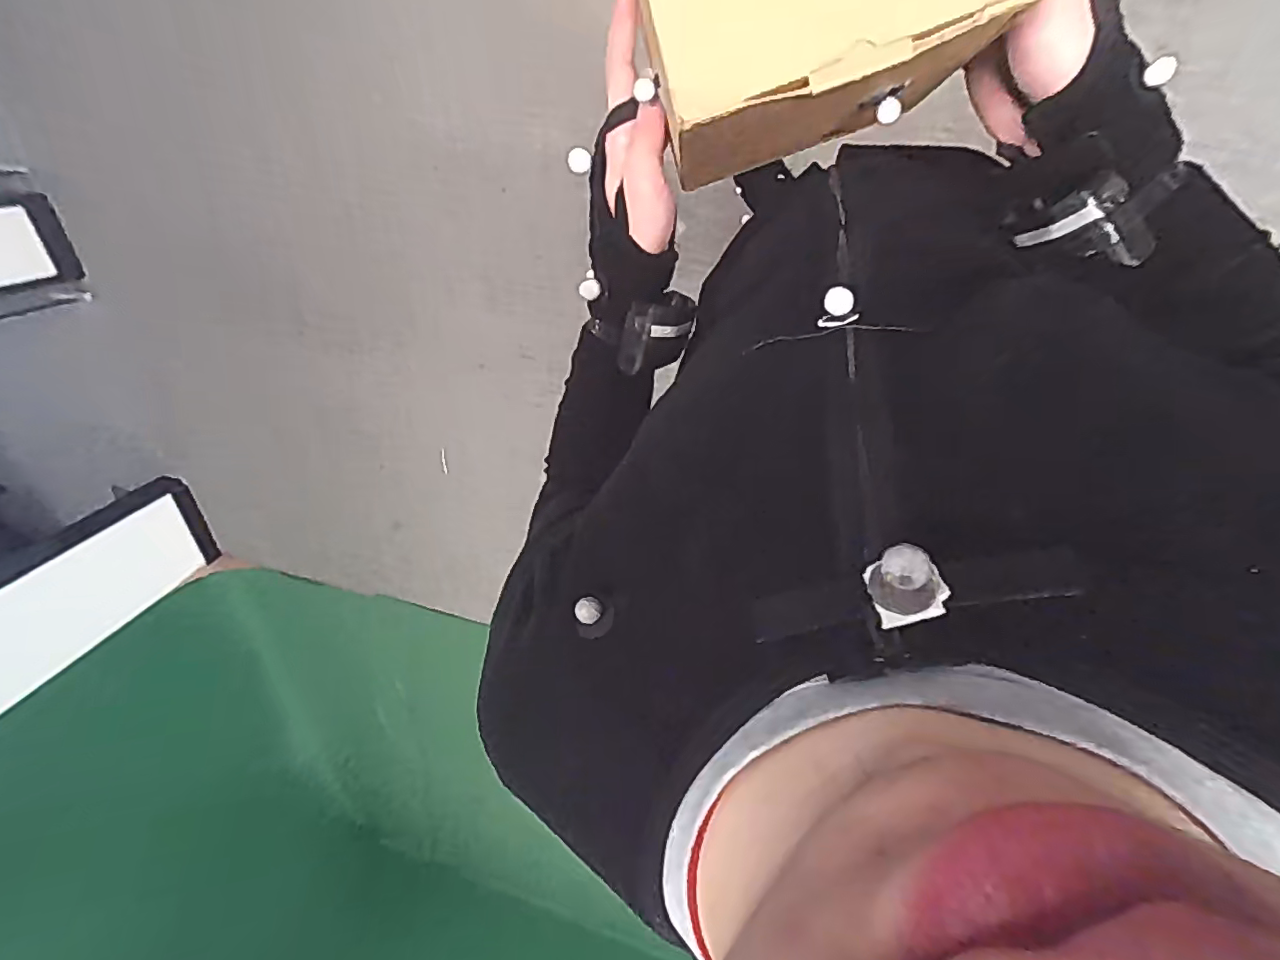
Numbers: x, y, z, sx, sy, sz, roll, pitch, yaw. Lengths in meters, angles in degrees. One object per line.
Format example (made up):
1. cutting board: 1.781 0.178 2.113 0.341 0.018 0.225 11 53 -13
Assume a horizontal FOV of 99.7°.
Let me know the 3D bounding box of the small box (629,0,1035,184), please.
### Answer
1. small box: 0.076 -0.284 0.296 0.168 0.176 0.179 -15 106 9
